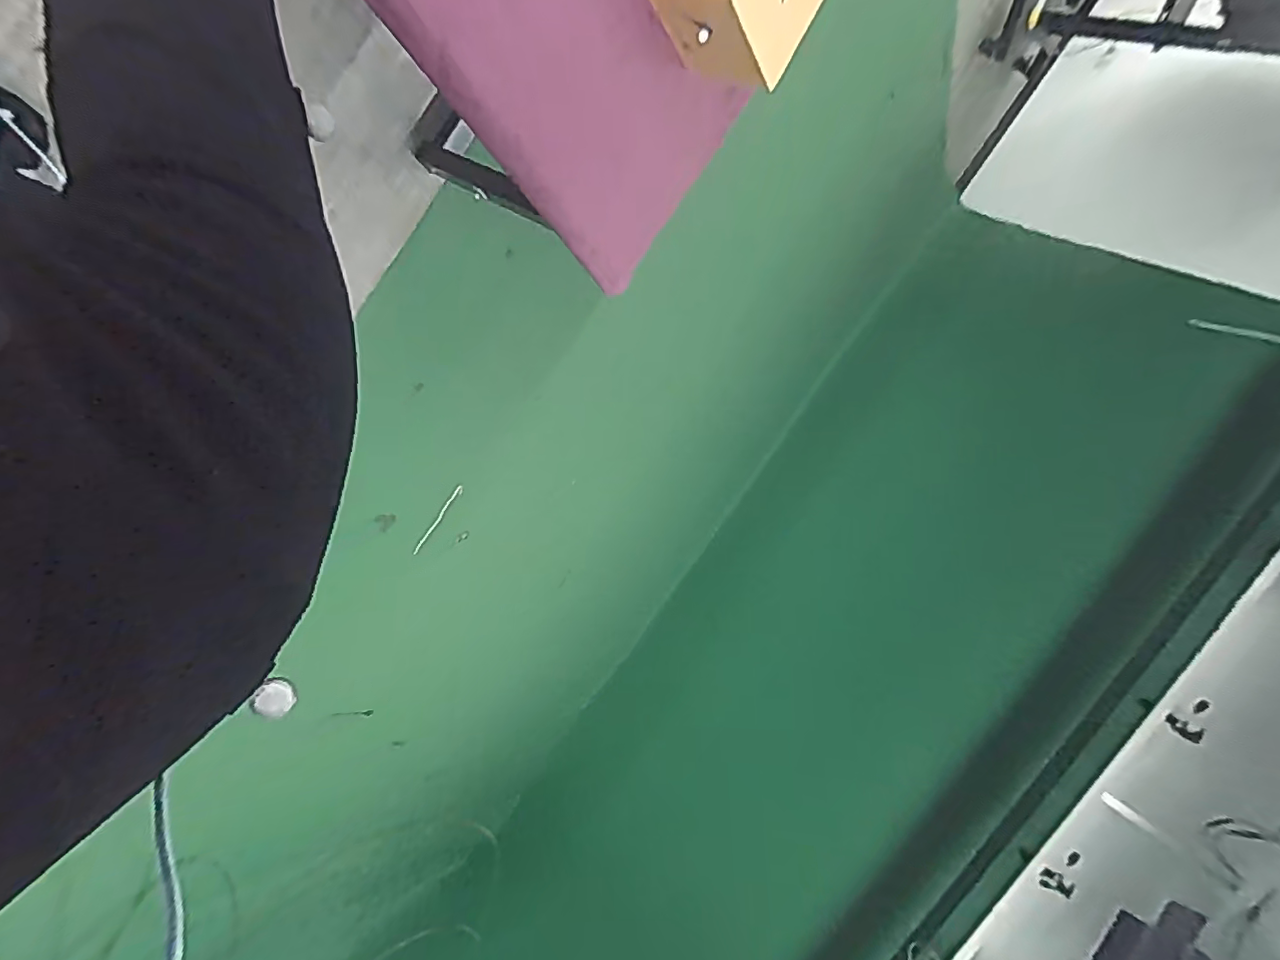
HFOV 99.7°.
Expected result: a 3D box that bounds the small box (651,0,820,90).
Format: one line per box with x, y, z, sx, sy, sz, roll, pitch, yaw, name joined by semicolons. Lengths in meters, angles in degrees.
0.135;-0.705;0.765;0.168;0.176;0.179;12;111;-58;small box
